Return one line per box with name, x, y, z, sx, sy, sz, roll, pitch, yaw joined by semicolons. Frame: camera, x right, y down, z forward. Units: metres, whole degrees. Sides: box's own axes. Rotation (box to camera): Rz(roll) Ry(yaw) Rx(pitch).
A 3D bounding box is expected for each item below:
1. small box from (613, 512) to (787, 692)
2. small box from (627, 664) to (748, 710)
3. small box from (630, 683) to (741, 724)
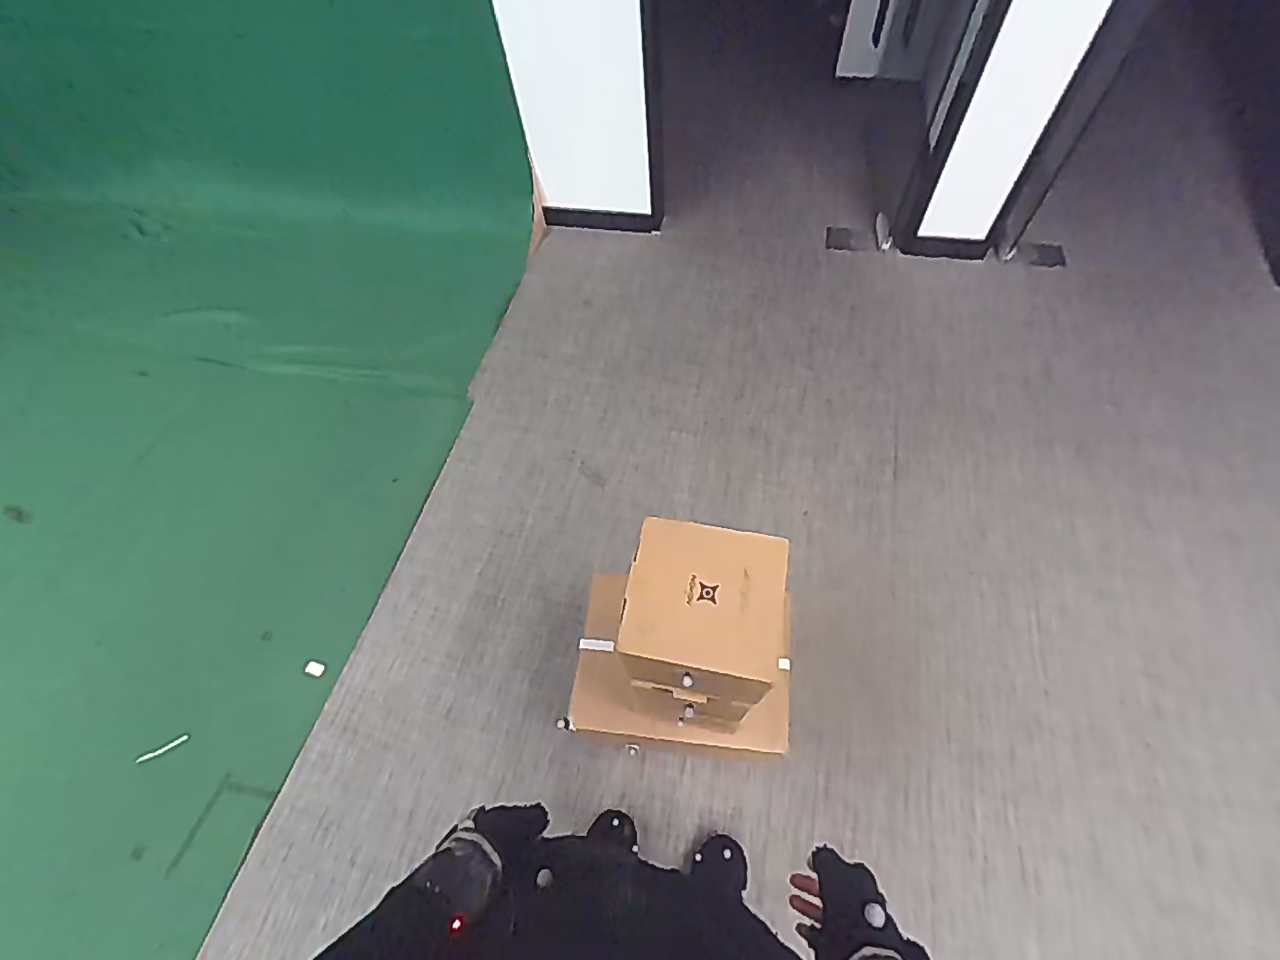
small box;0.076;0.158;0.677;0.179;0.176;0.168;9;63;8
small box;0.084;0.239;0.818;0.168;0.176;0.179;8;62;9
small box;0.092;0.325;0.956;0.179;0.176;0.168;8;62;10
